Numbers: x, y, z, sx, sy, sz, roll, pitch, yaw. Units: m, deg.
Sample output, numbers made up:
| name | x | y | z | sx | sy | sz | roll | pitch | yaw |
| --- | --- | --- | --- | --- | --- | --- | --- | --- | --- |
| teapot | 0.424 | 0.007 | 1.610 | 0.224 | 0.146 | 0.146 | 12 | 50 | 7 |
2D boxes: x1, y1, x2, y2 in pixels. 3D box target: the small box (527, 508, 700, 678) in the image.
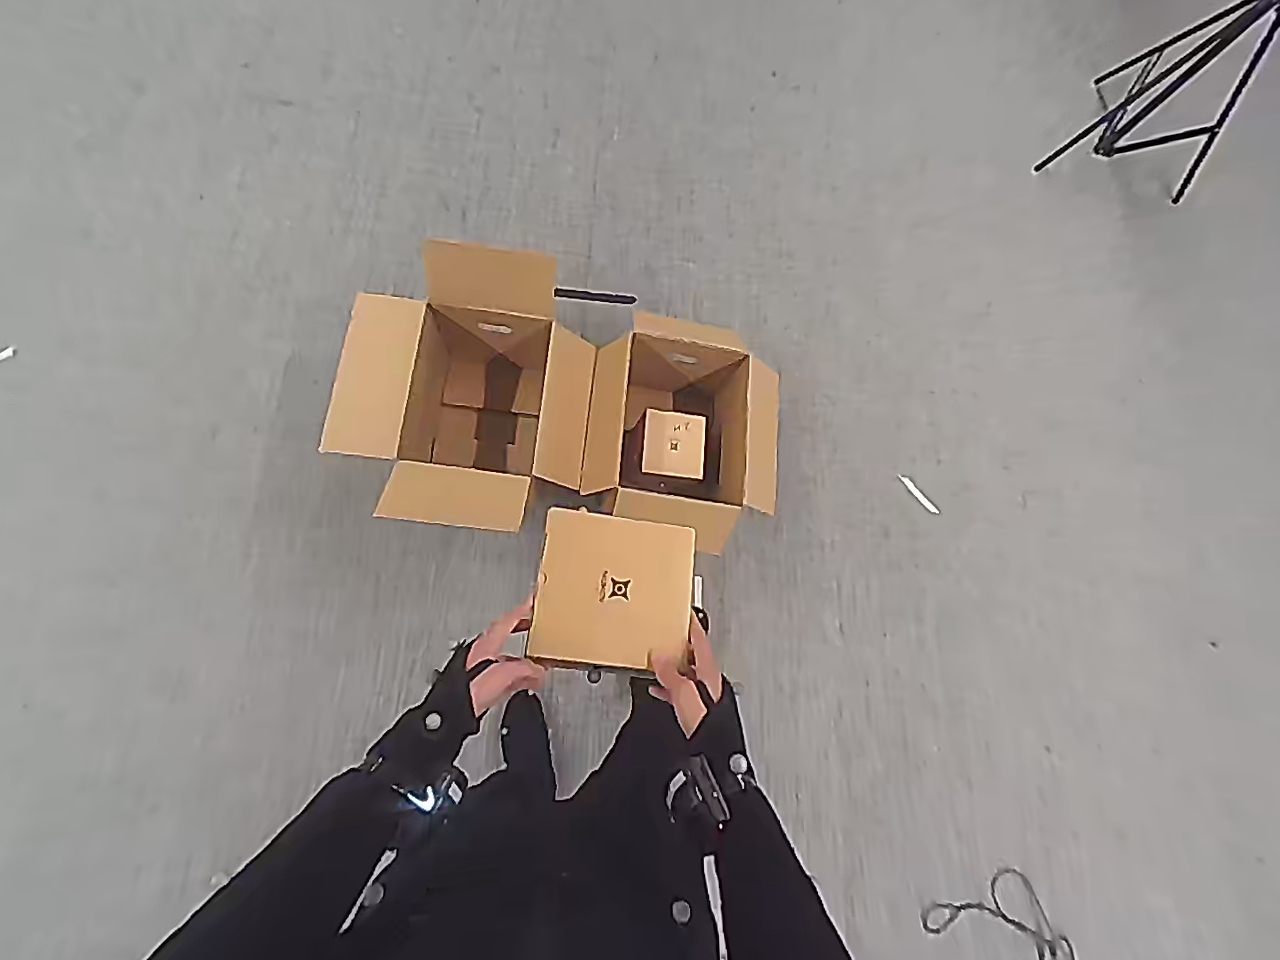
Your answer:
| name | x | y | z | sx | sy | sz | roll | pitch | yaw |
| --- | --- | --- | --- | --- | --- | --- | --- | --- | --- |
| small box | -0.036 | 0.147 | 0.667 | 0.179 | 0.176 | 0.168 | 9 | 68 | -6 |
